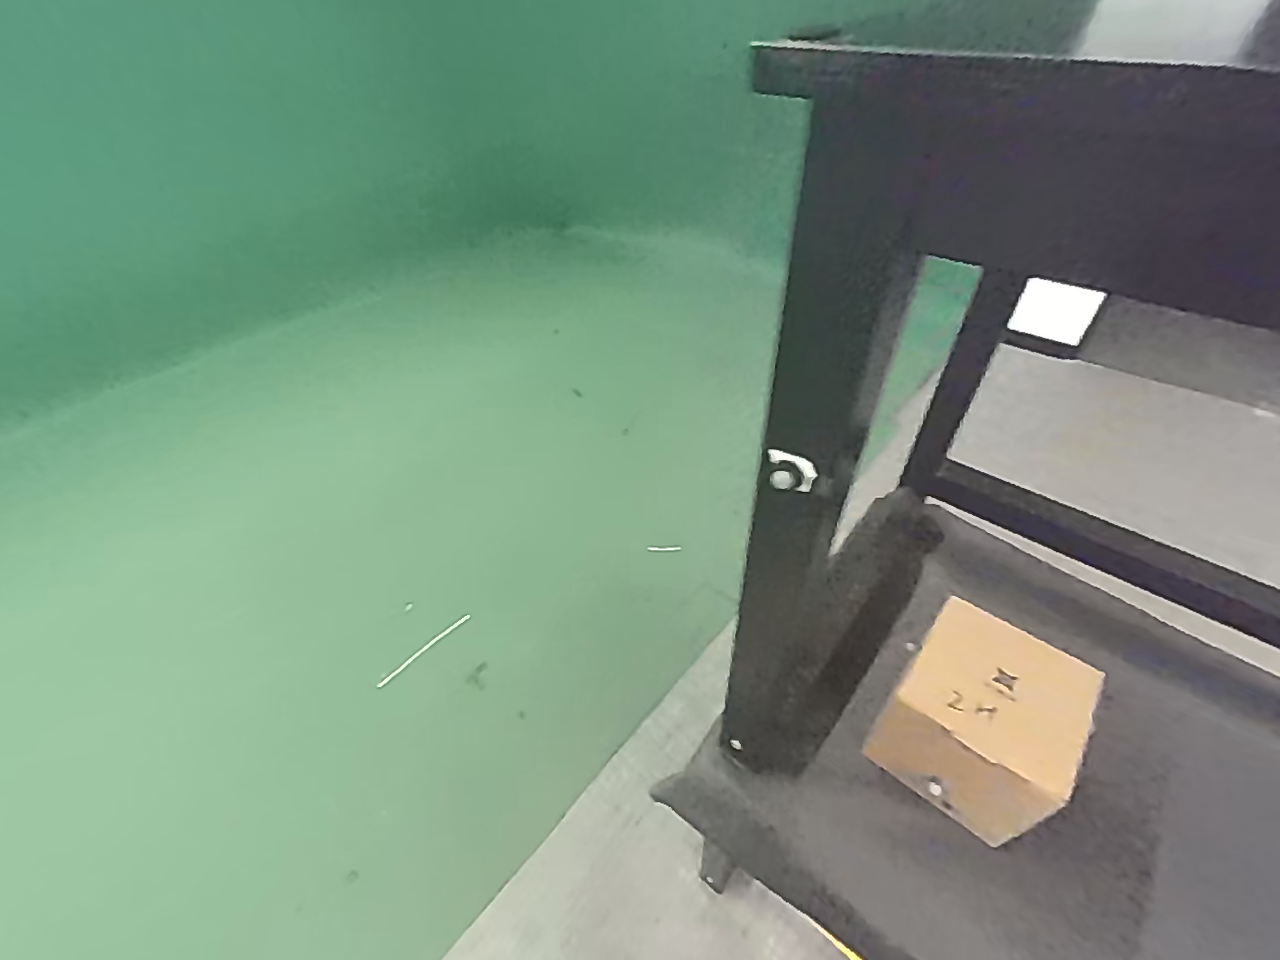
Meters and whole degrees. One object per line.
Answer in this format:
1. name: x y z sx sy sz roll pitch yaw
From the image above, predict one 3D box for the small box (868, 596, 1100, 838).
1. small box: 0.403 0.284 0.656 0.168 0.176 0.179 30 53 30
